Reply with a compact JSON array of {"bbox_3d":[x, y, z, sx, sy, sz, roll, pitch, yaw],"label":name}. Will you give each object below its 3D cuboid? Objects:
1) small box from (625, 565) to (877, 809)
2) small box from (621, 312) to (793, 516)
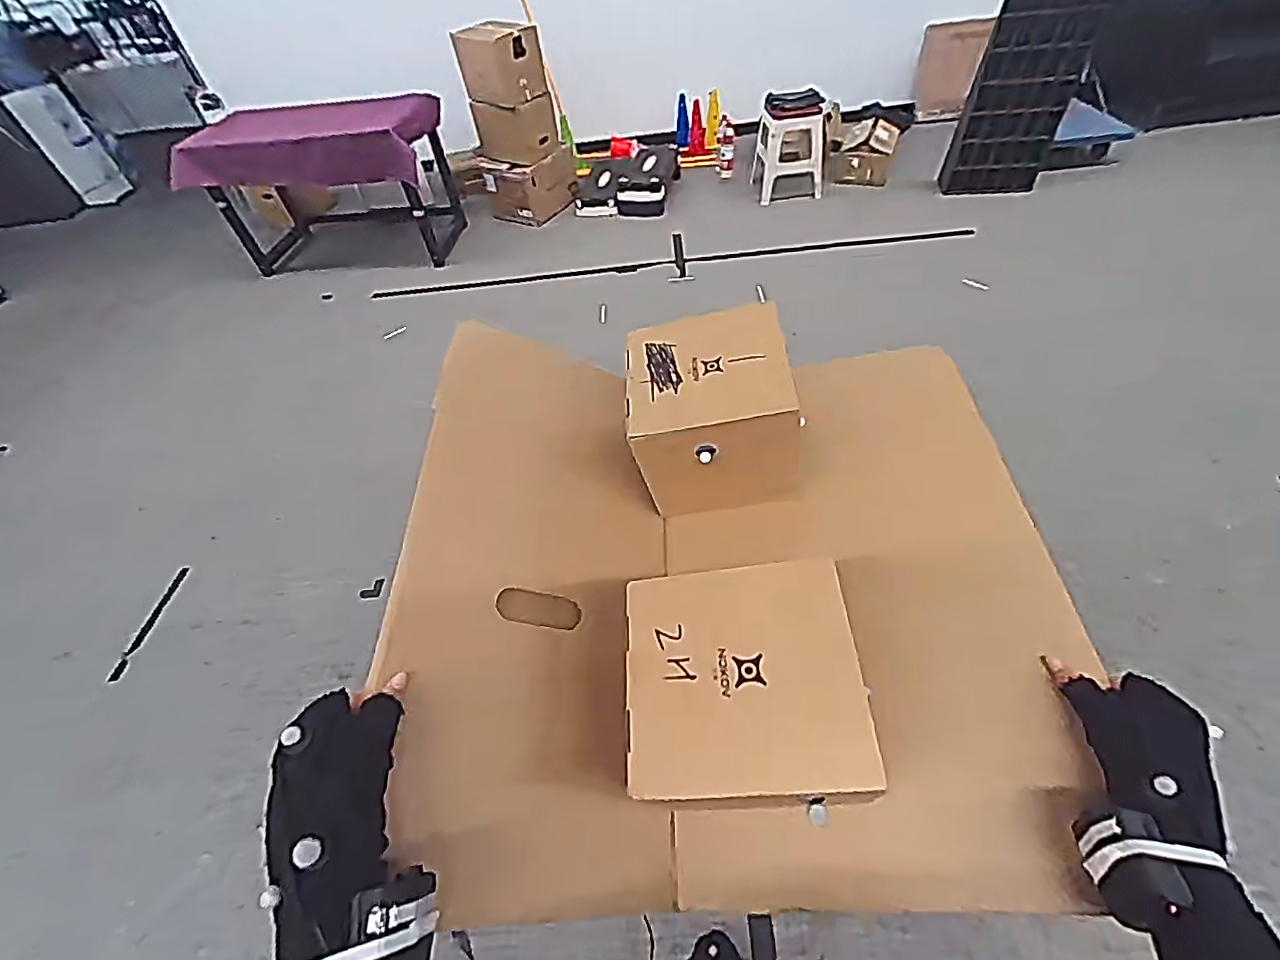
[{"bbox_3d":[0.092,0.191,0.481,0.179,0.176,0.168,-9,55,12],"label":"small box"},{"bbox_3d":[0.084,-0.070,0.659,0.179,0.176,0.168,-9,55,11],"label":"small box"}]
